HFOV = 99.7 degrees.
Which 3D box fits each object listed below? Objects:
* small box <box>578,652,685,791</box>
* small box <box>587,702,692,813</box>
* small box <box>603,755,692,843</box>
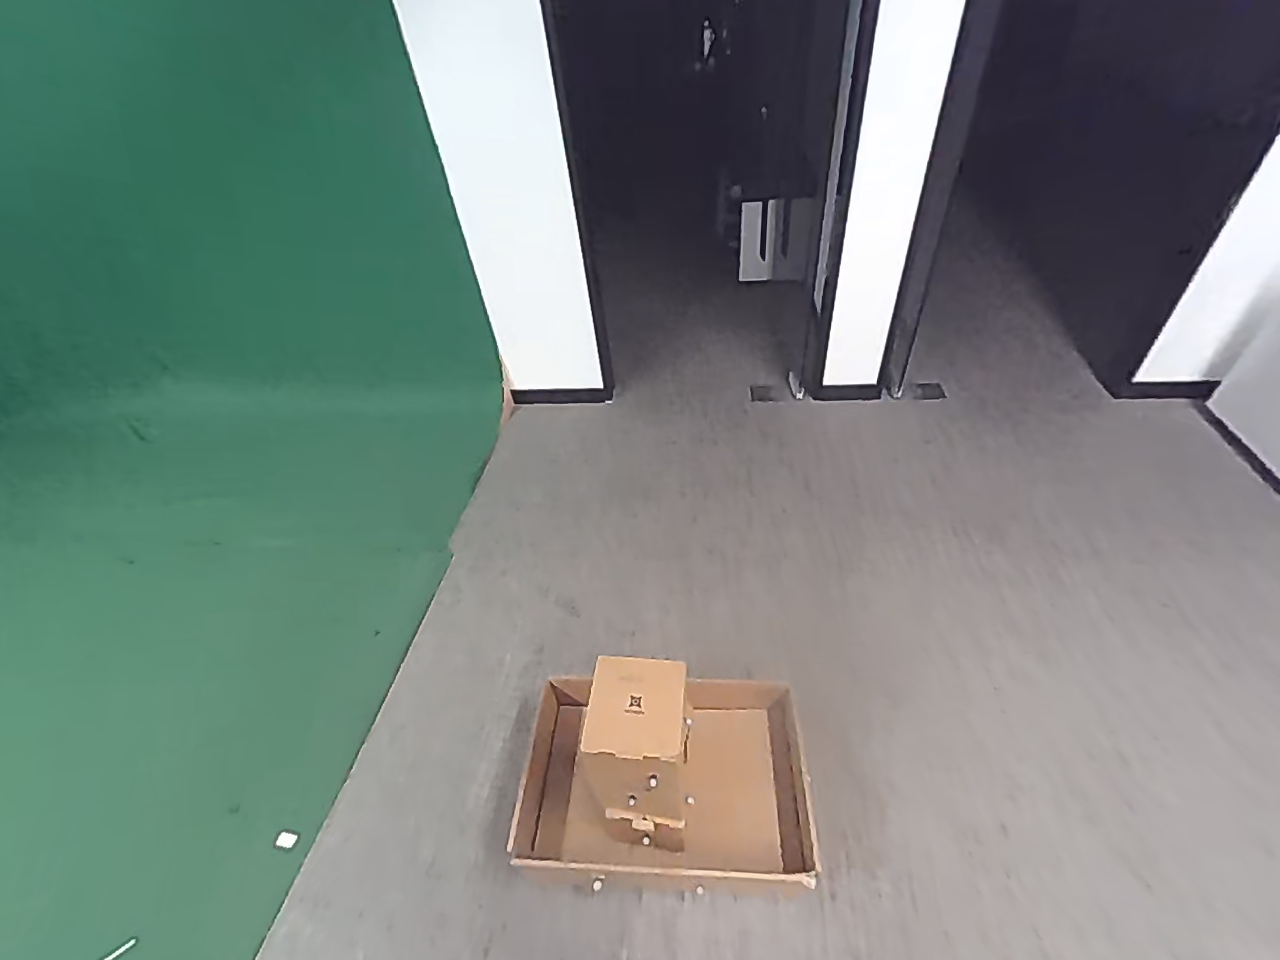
[{"bbox_3d":[-0.006,0.441,0.987,0.168,0.176,0.179,3,41,7],"label":"small box"},{"bbox_3d":[0.009,0.554,1.102,0.179,0.176,0.168,4,42,13],"label":"small box"},{"bbox_3d":[0.024,0.682,1.205,0.168,0.176,0.179,4,44,11],"label":"small box"}]
